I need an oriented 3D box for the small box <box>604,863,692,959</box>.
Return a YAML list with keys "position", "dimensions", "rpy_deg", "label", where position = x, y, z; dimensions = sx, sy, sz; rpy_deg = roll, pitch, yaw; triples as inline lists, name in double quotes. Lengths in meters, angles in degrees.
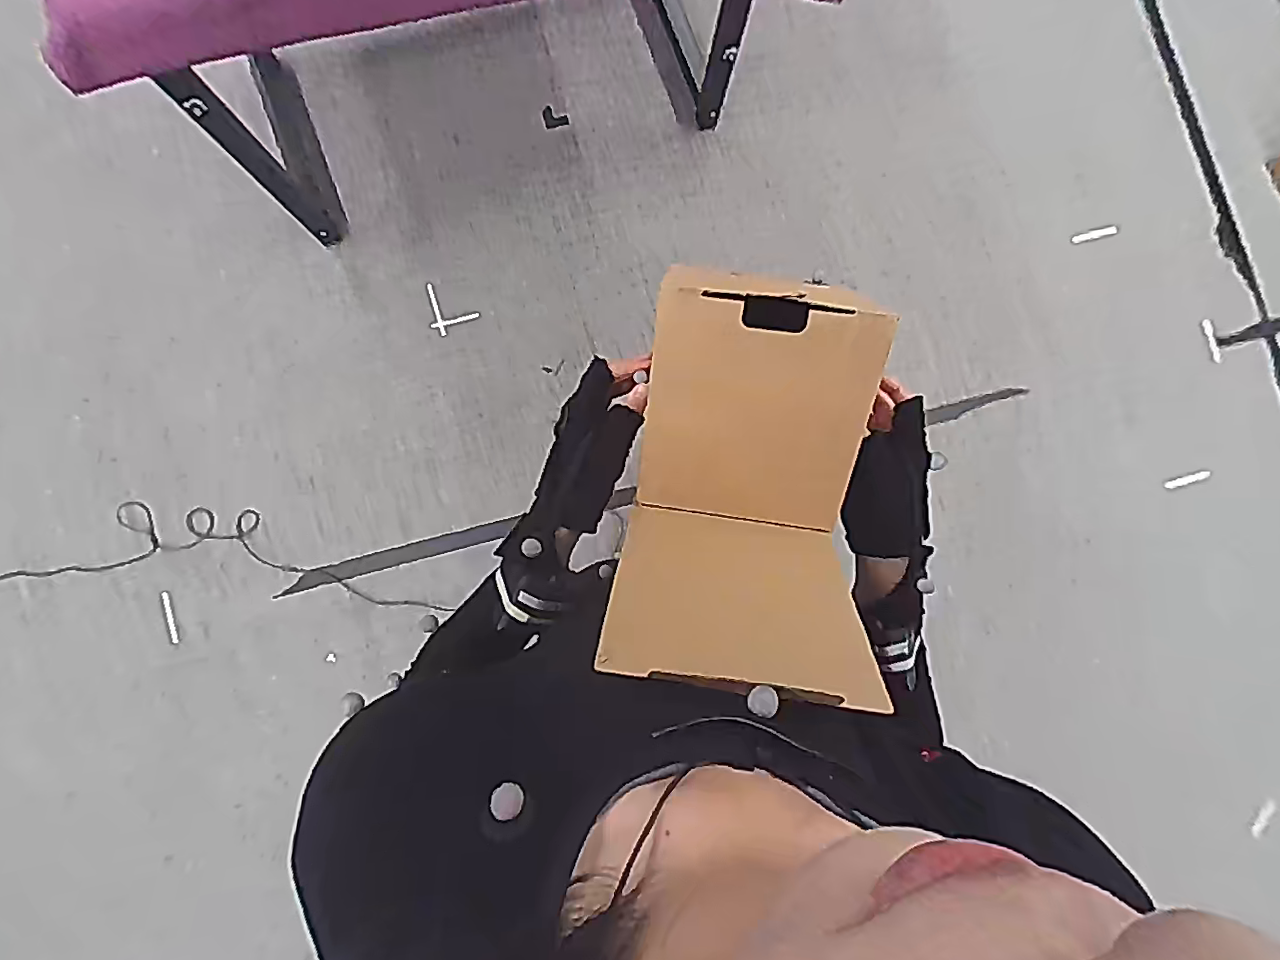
- position: [0.014, 1.096, 1.334]
  dimensions: [0.179, 0.176, 0.168]
  rpy_deg: [-15, 86, -6]
  label: "small box"
